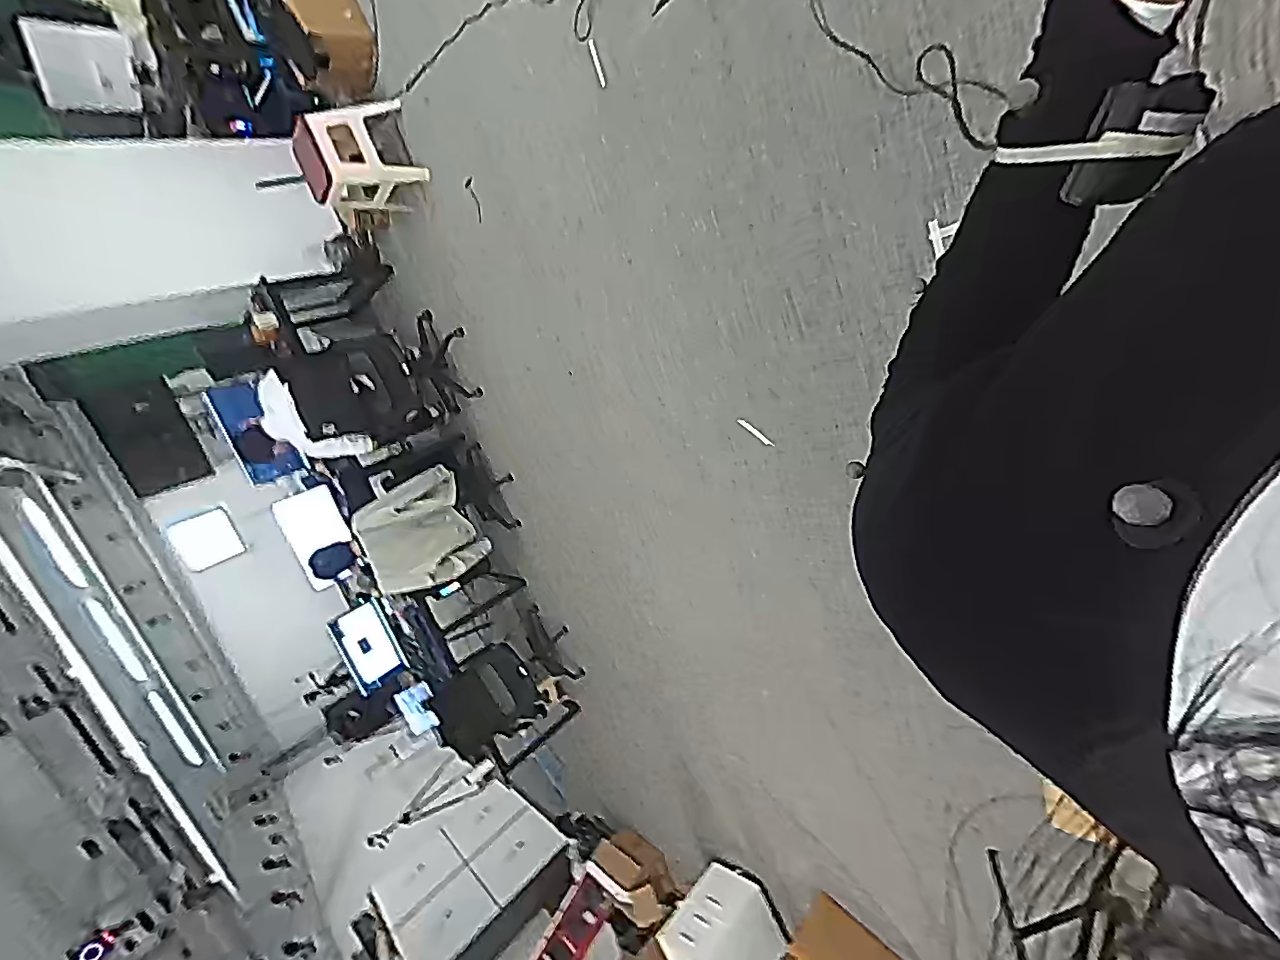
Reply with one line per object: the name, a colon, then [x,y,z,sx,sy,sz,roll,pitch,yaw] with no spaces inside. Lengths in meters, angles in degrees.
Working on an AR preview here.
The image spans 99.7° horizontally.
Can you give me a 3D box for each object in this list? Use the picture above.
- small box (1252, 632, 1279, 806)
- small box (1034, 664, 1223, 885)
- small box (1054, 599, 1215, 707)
small box: [0.925,0.324,0.702,0.168,0.176,0.179,1,112,48]
small box: [0.685,0.394,0.757,0.168,0.176,0.179,-1,112,52]
small box: [0.790,0.319,0.862,0.168,0.176,0.179,2,113,51]
